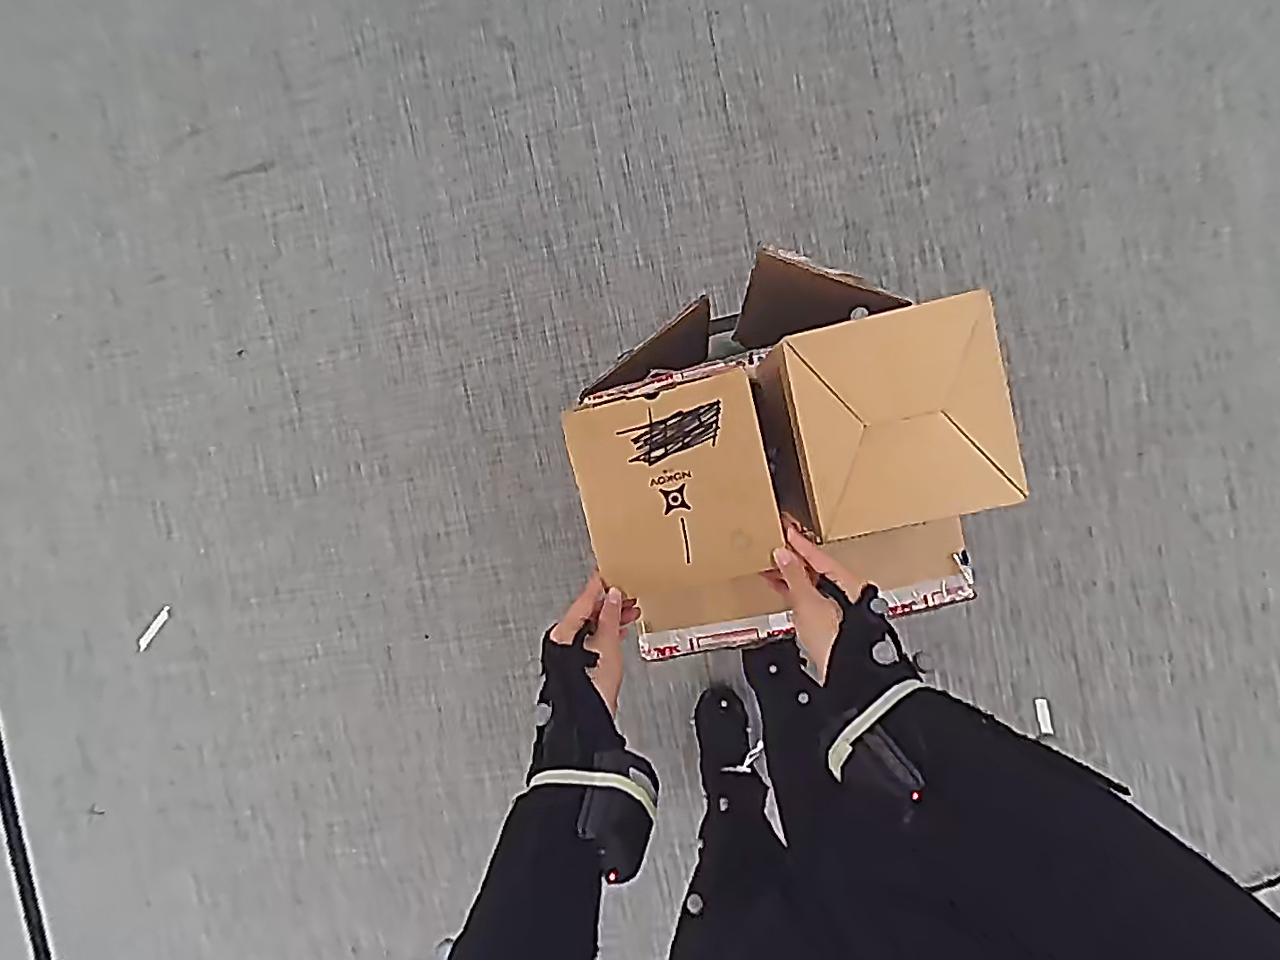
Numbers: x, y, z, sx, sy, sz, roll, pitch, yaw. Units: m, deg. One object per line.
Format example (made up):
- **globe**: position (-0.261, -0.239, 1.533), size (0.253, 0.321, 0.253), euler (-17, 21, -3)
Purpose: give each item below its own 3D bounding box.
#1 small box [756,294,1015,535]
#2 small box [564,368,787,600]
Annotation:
- **small box**: position (0.219, -0.055, 0.519), size (0.168, 0.176, 0.179), euler (-13, 93, 5)
- **small box**: position (0.037, 0.000, 0.546), size (0.168, 0.176, 0.179), euler (-13, 94, 7)
